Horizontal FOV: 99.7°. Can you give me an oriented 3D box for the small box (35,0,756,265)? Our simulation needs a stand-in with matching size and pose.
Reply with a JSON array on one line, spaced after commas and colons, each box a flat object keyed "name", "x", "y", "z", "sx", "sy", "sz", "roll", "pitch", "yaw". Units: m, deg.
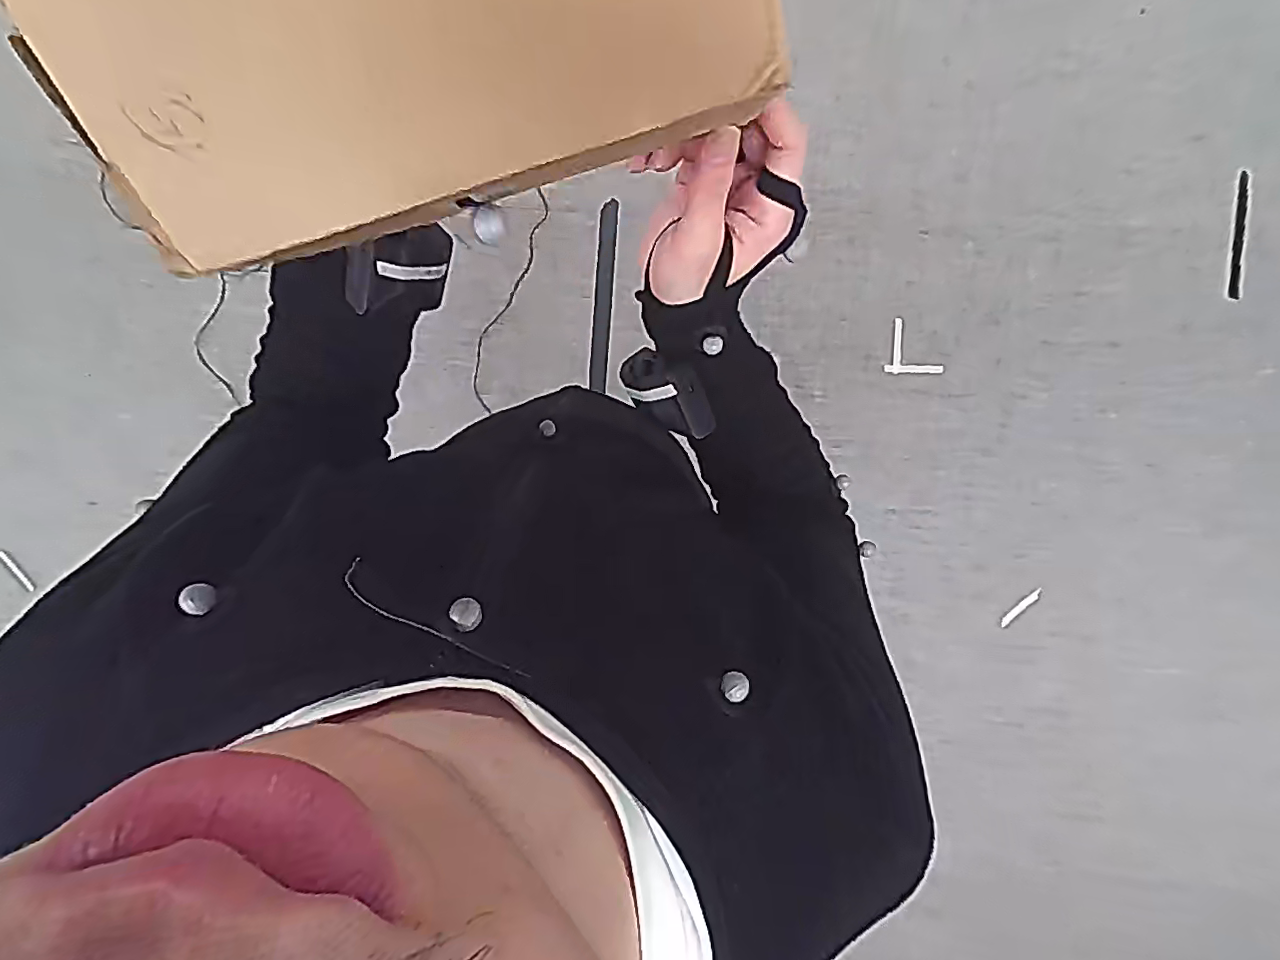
[{"name": "small box", "x": -0.064, "y": -0.188, "z": 0.177, "sx": 0.179, "sy": 0.176, "sz": 0.168, "roll": -10, "pitch": 120, "yaw": 14}]
